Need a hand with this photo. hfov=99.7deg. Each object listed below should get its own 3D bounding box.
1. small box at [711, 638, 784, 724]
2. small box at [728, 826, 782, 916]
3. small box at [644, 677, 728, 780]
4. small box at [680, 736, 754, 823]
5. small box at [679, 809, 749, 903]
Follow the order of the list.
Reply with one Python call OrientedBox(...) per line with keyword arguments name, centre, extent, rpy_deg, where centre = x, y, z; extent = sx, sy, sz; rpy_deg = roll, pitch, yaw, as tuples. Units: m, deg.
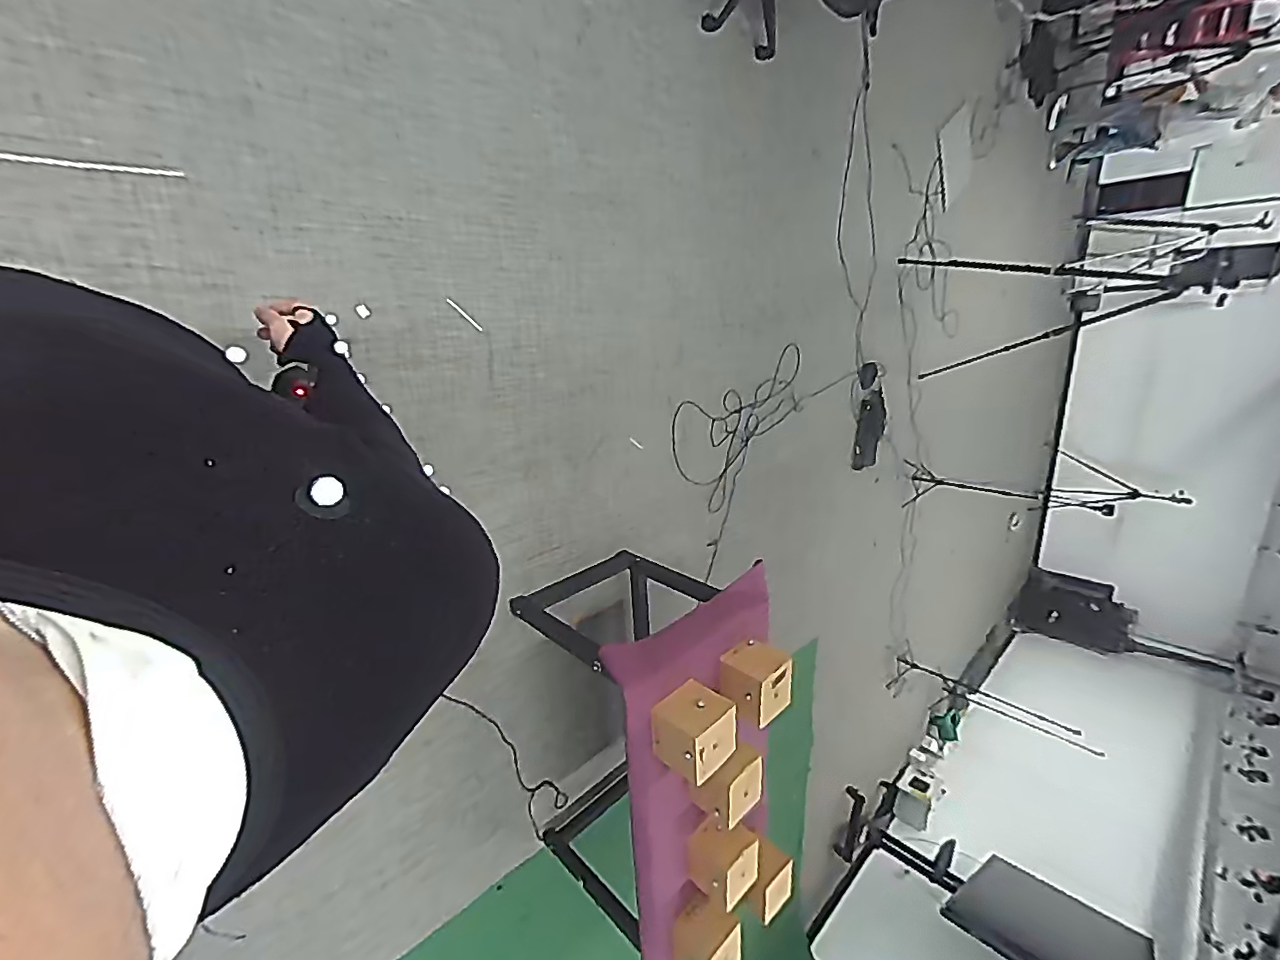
OrientedBox(name="small box", centre=(0.340, 0.630, 1.729), extent=(0.168, 0.176, 0.179), rpy_deg=(-17, 114, -40))
OrientedBox(name="small box", centre=(0.412, 1.459, 2.029), extent=(0.168, 0.176, 0.179), rpy_deg=(-15, 110, -40))
OrientedBox(name="small box", centre=(0.131, 0.696, 1.539), extent=(0.179, 0.176, 0.168), rpy_deg=(-21, 115, -41))
OrientedBox(name="small box", centre=(0.240, 0.922, 1.711), extent=(0.168, 0.176, 0.179), rpy_deg=(-17, 113, -41))
OrientedBox(name="small box", centre=(0.243, 1.238, 1.806), extent=(0.168, 0.176, 0.179), rpy_deg=(-17, 111, -41))
